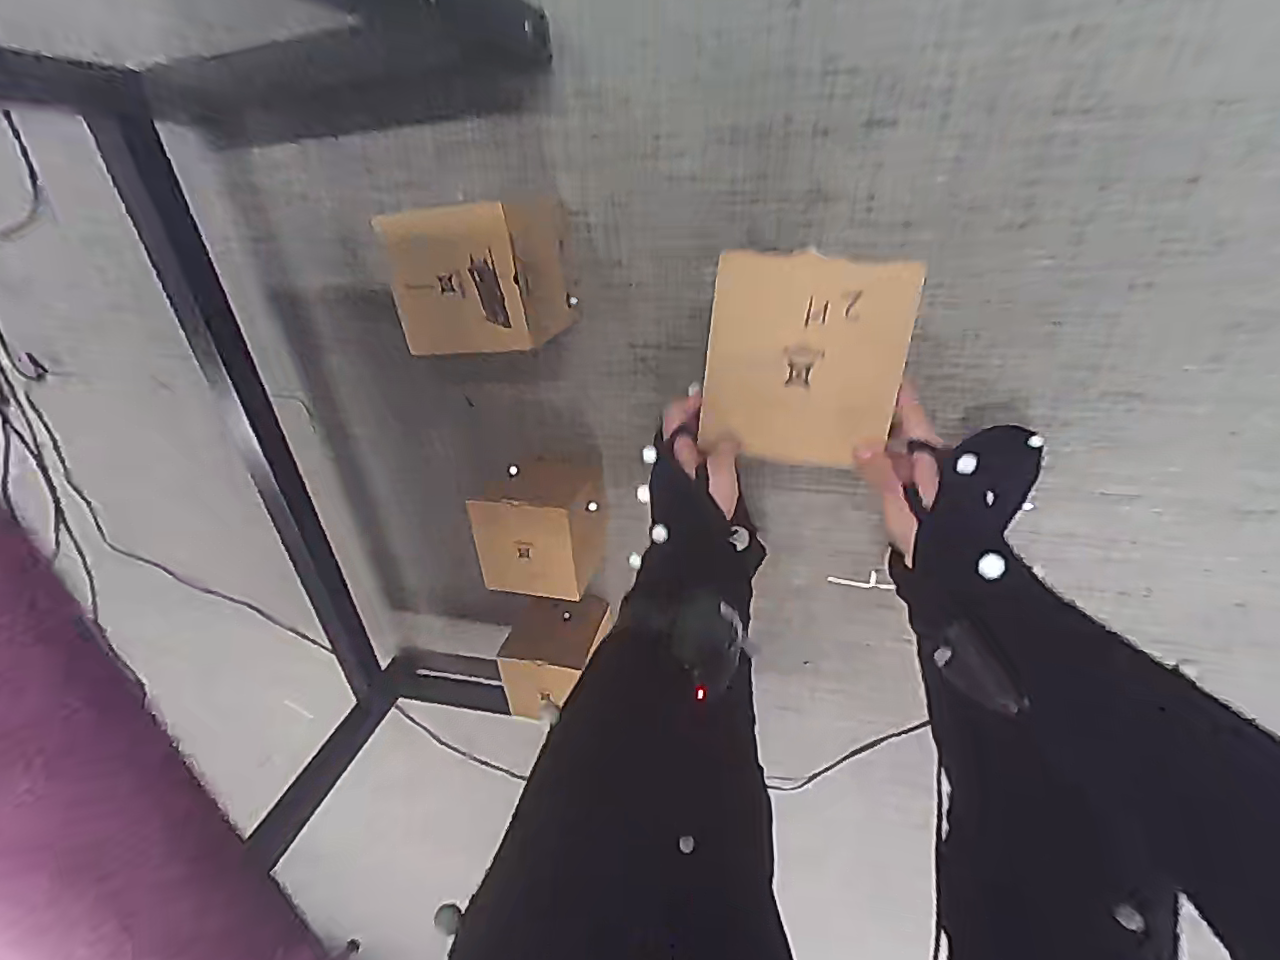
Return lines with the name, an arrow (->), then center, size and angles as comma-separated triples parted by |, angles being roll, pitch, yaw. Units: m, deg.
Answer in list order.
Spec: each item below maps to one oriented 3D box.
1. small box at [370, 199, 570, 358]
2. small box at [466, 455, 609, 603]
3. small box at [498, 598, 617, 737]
small box -> -0.202, -0.265, 0.706 | 0.179, 0.176, 0.168 | 2, 118, 16
small box -> -0.156, 0.072, 0.884 | 0.168, 0.176, 0.179 | 5, 121, 14
small box -> -0.149, 0.355, 1.043 | 0.168, 0.176, 0.179 | 3, 119, 14
